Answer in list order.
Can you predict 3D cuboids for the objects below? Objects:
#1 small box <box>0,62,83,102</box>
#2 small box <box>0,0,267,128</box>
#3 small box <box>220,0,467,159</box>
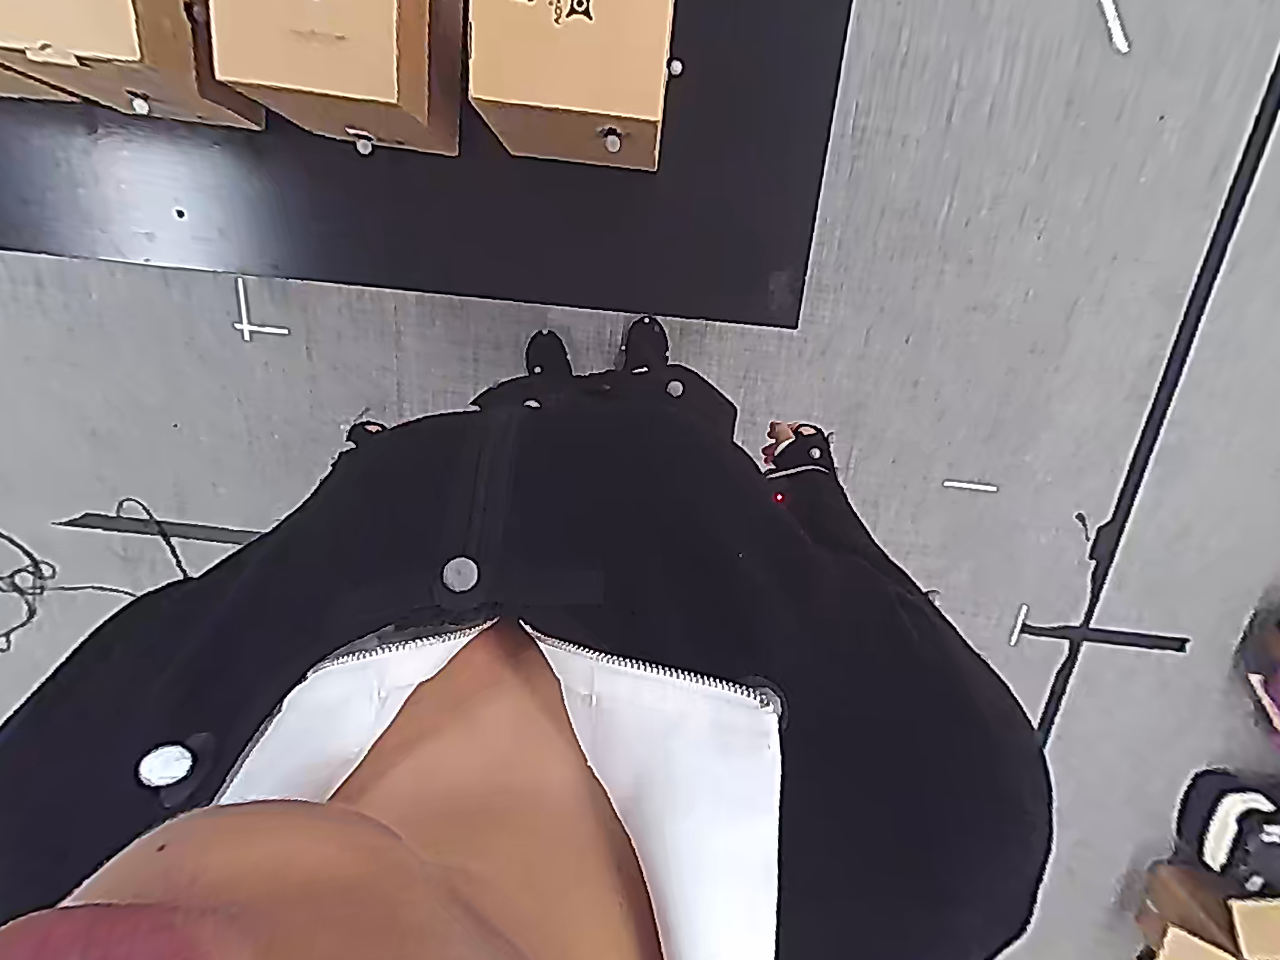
[{"bbox_3d":[-0.722,-0.501,0.533,0.179,0.176,0.168,3,106,-2],"label":"small box"},{"bbox_3d":[-0.508,-0.480,0.539,0.168,0.176,0.179,7,106,-1],"label":"small box"},{"bbox_3d":[-0.283,-0.455,0.548,0.168,0.176,0.179,7,107,0],"label":"small box"}]
